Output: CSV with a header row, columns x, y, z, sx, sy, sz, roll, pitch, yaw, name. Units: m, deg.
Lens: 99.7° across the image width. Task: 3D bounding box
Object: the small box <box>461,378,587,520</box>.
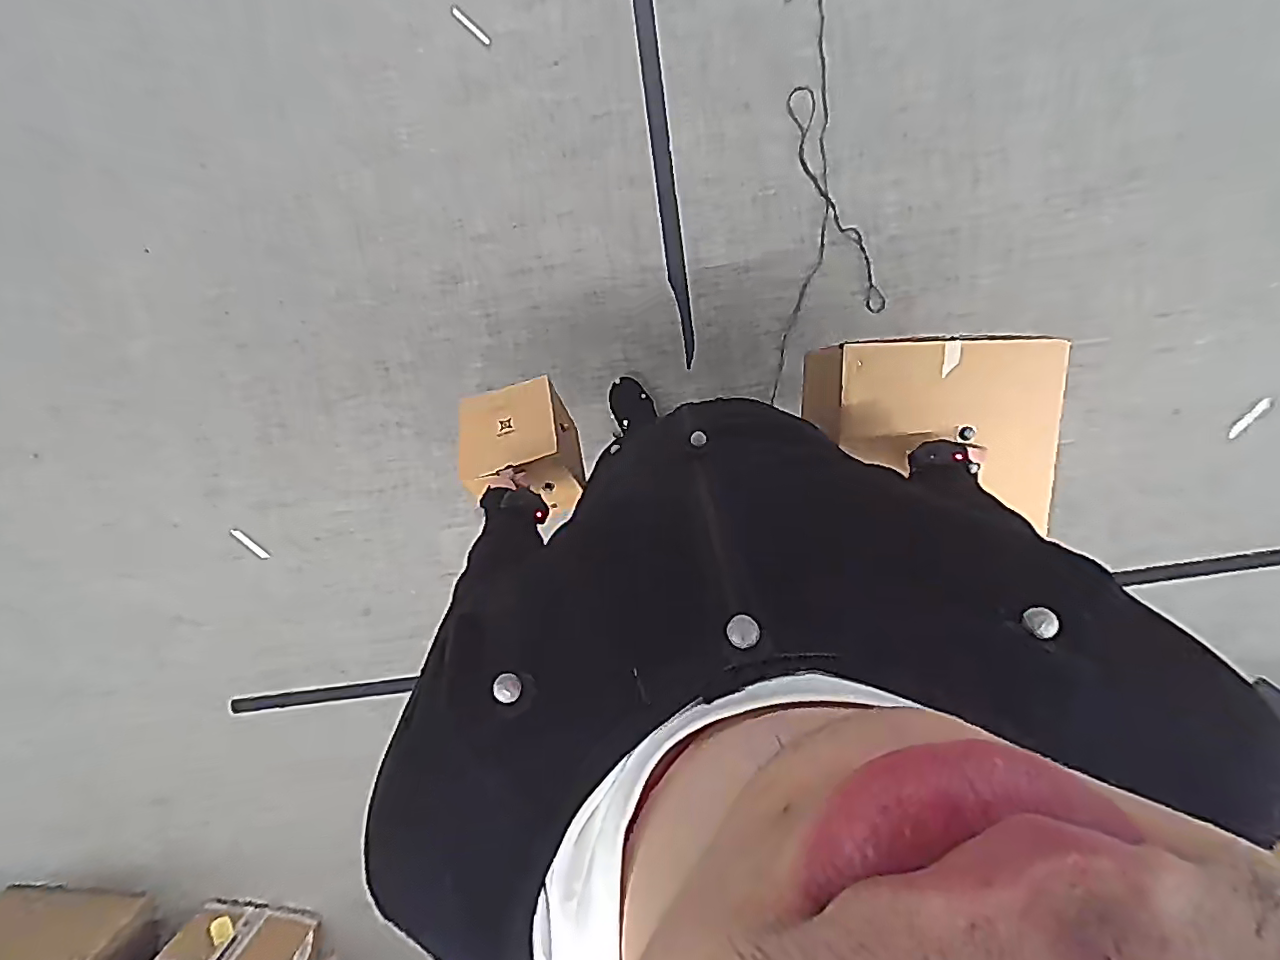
x,y,z,sx,sy,sz,roll,pitch,yaw,name
-0.202,-0.045,0.964,0.168,0.176,0.179,-17,57,5,small box
